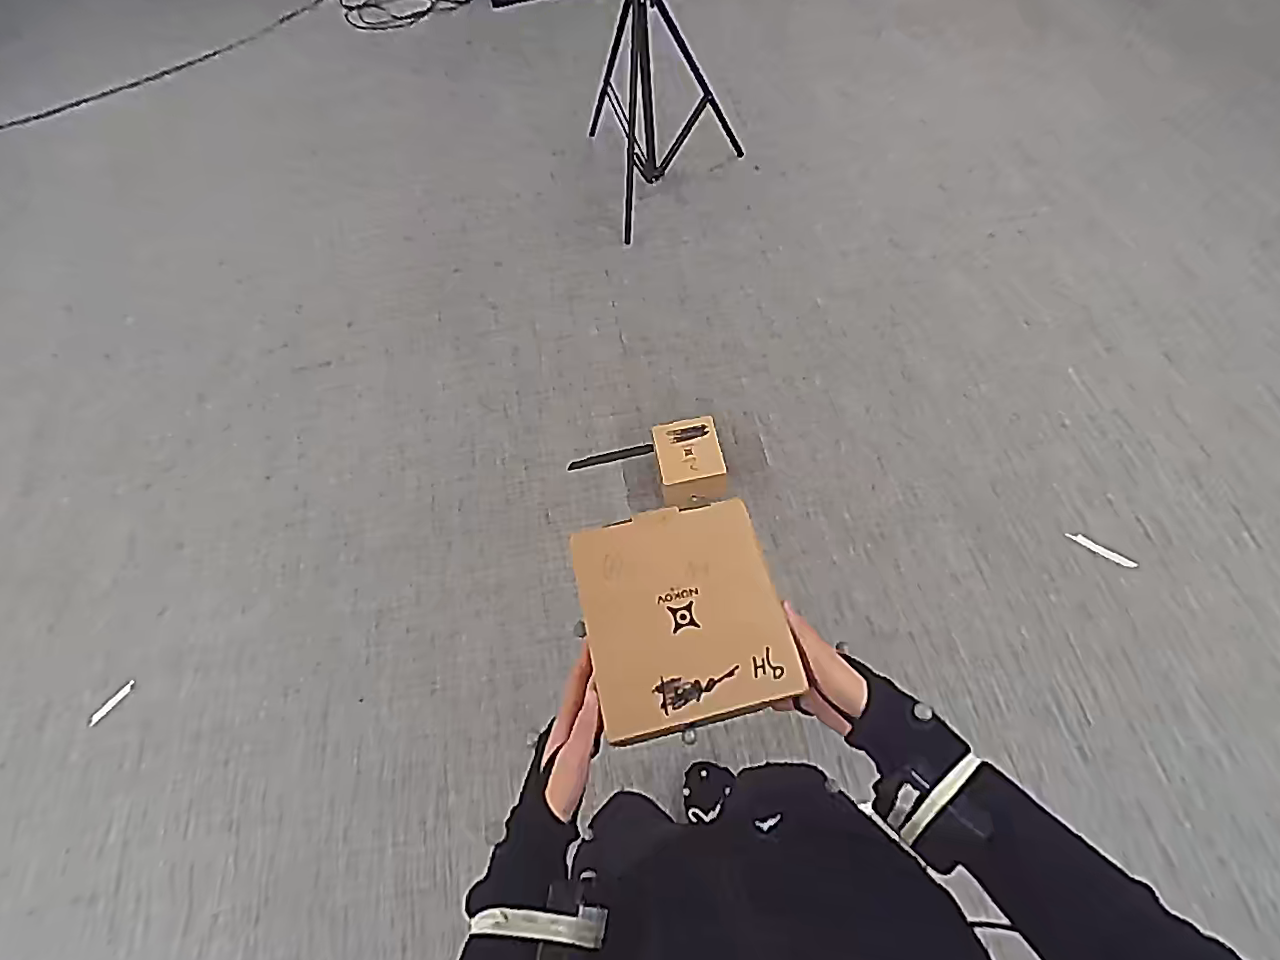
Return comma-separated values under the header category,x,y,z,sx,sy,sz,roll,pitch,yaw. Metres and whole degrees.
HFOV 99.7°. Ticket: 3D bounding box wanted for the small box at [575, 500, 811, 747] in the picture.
category,x,y,z,sx,sy,sz,roll,pitch,yaw
small box,0.035,0.144,0.522,0.168,0.176,0.179,-11,63,-7
